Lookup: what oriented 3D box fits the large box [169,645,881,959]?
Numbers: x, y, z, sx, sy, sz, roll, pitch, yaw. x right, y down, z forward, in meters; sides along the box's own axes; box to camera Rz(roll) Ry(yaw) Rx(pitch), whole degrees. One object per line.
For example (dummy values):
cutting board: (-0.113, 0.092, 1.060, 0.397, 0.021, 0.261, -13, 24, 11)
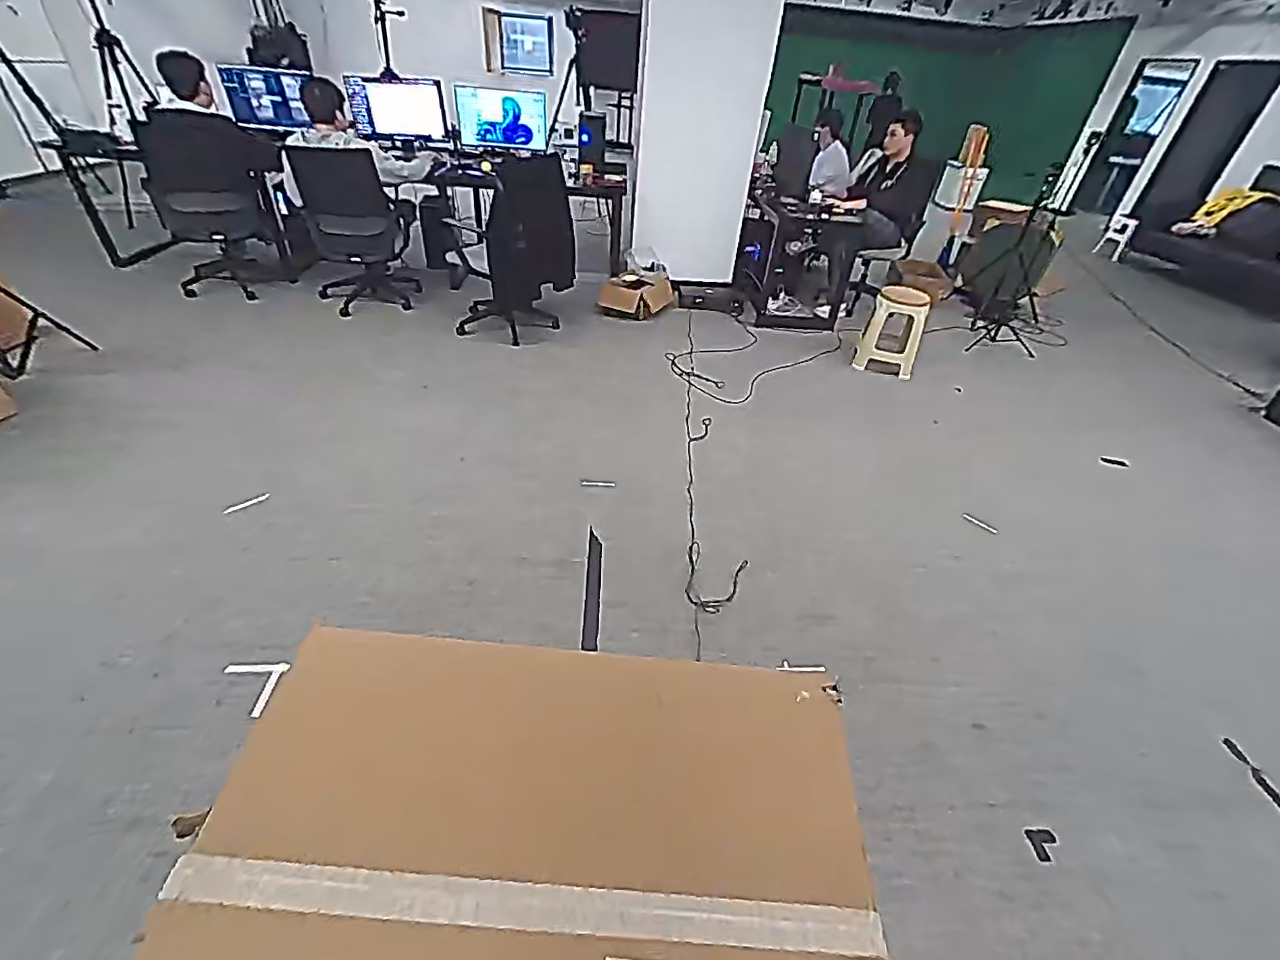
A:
large box: (-0.069, 0.357, 0.426, 0.408, 0.320, 0.320, 6, 47, -1)
